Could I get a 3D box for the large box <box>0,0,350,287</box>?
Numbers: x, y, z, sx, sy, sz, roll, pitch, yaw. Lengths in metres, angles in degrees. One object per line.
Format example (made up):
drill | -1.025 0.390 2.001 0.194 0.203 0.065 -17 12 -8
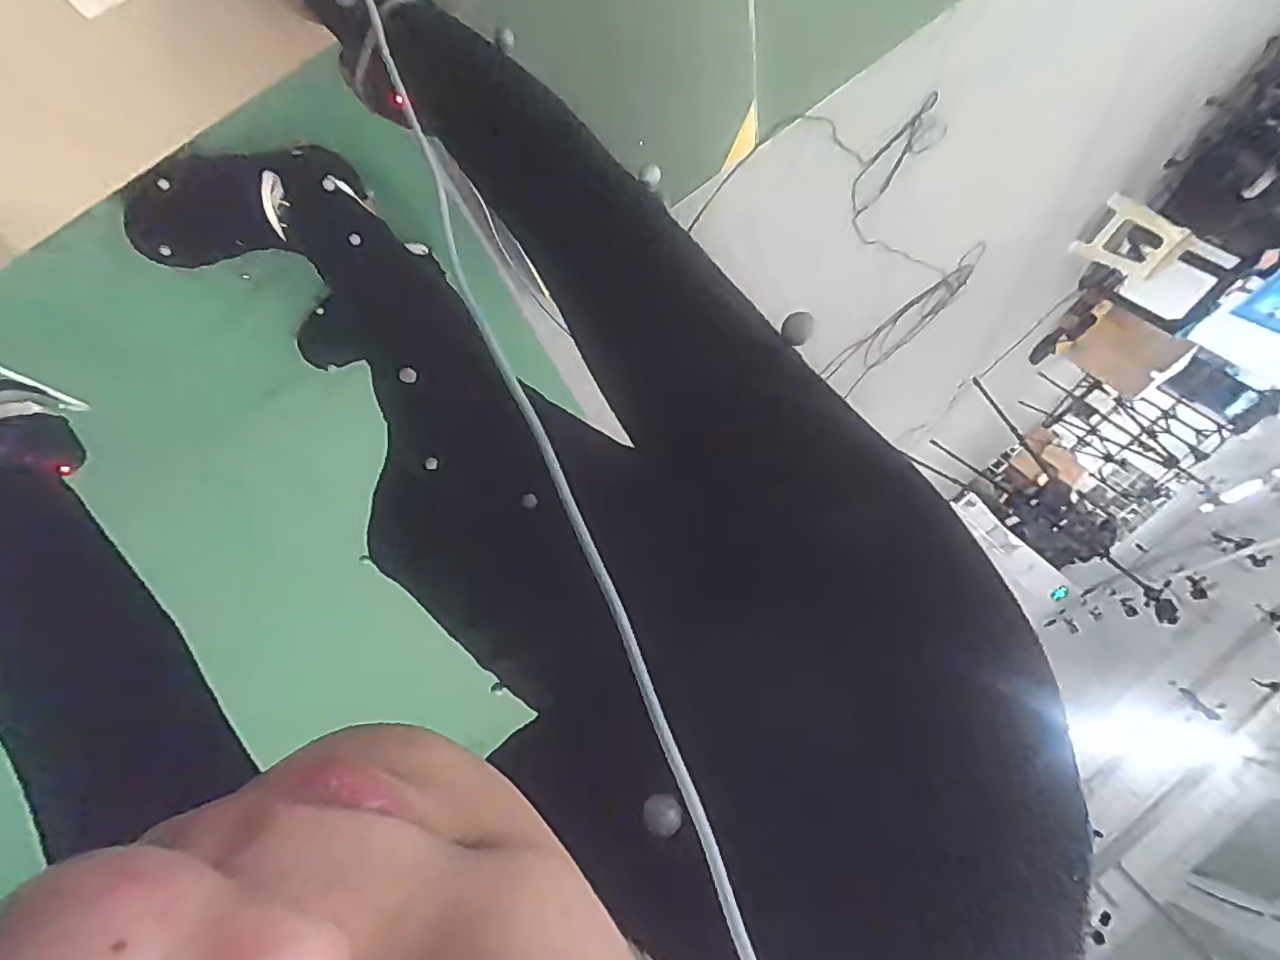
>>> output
large box | -0.539 -0.445 0.419 0.408 0.320 0.320 -39 153 -5
